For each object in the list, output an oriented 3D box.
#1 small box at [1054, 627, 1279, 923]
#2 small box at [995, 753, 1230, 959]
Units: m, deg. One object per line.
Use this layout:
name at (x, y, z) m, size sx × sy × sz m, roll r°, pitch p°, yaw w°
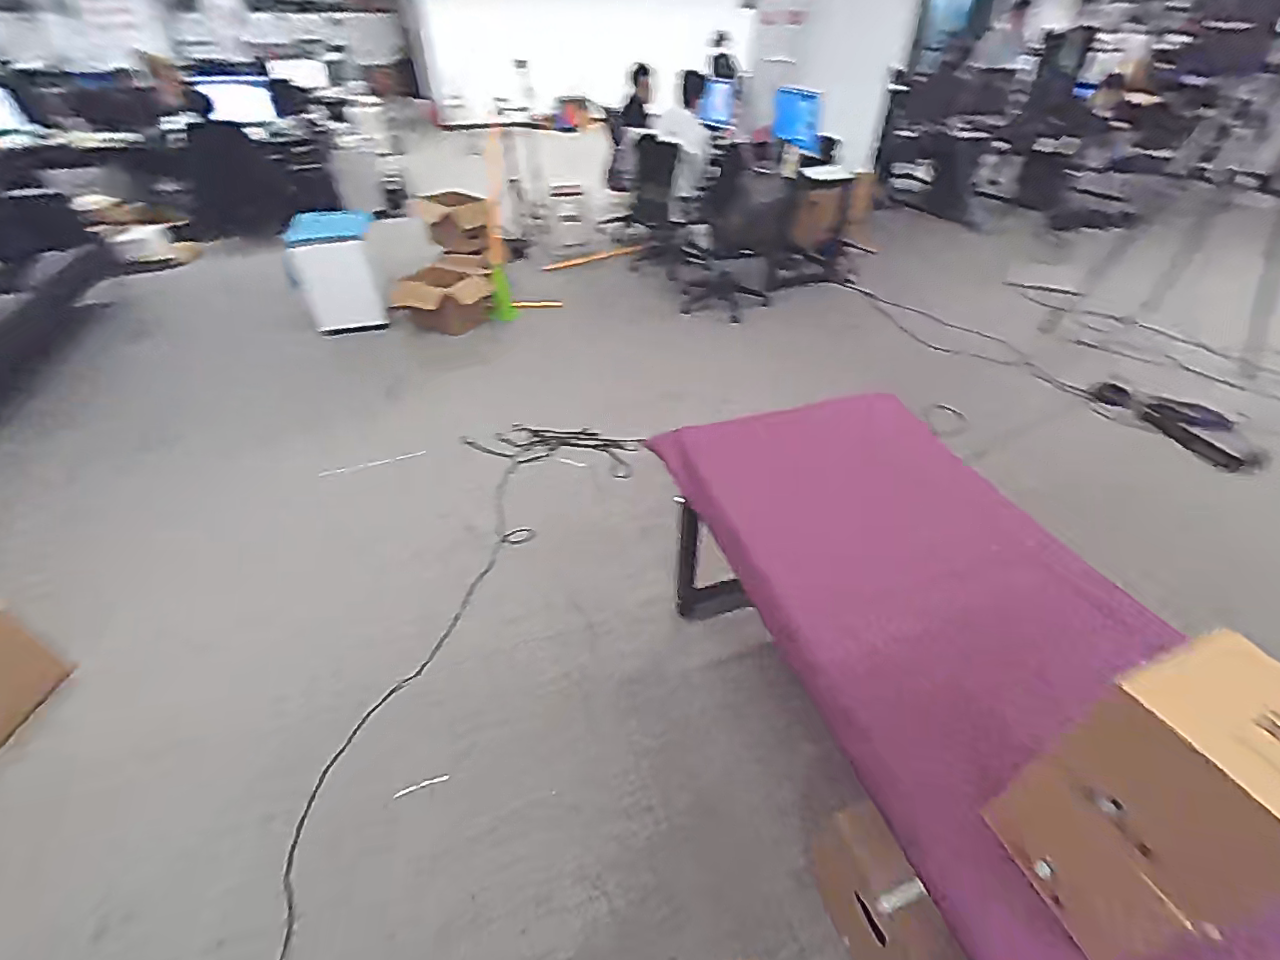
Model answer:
small box at (0.560, 0.278, 0.521) m, size 0.179 × 0.176 × 0.168 m, roll -13°, pitch 40°, yaw -16°
small box at (0.560, 0.408, 0.618) m, size 0.179 × 0.176 × 0.168 m, roll -12°, pitch 40°, yaw -14°
